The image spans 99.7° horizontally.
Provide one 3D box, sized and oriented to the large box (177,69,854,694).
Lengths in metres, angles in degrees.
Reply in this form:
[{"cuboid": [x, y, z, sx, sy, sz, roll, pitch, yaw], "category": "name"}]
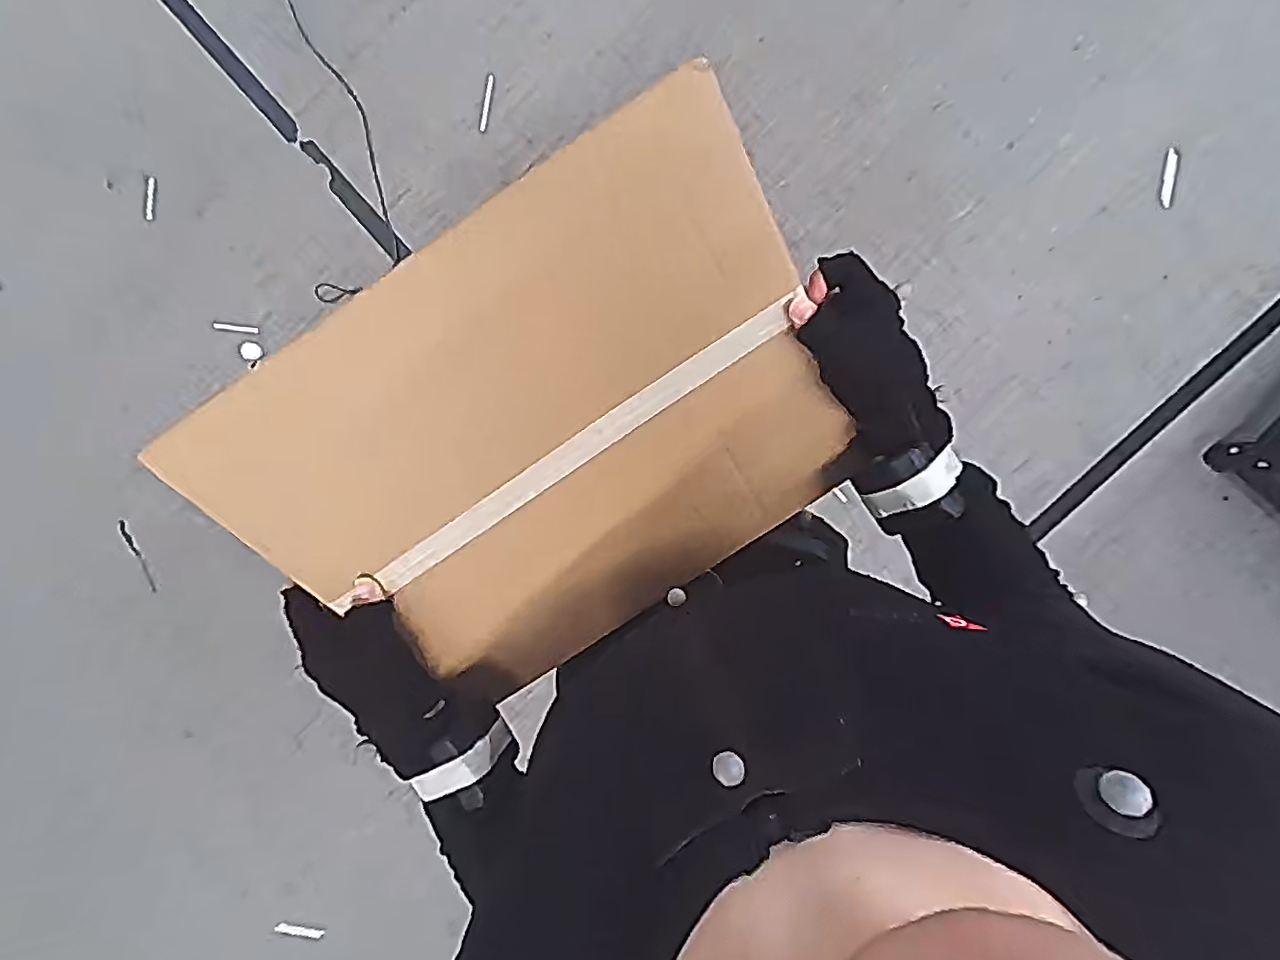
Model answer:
[{"cuboid": [-0.090, -0.086, 0.529, 0.408, 0.320, 0.320, -33, 120, 4], "category": "large box"}]
